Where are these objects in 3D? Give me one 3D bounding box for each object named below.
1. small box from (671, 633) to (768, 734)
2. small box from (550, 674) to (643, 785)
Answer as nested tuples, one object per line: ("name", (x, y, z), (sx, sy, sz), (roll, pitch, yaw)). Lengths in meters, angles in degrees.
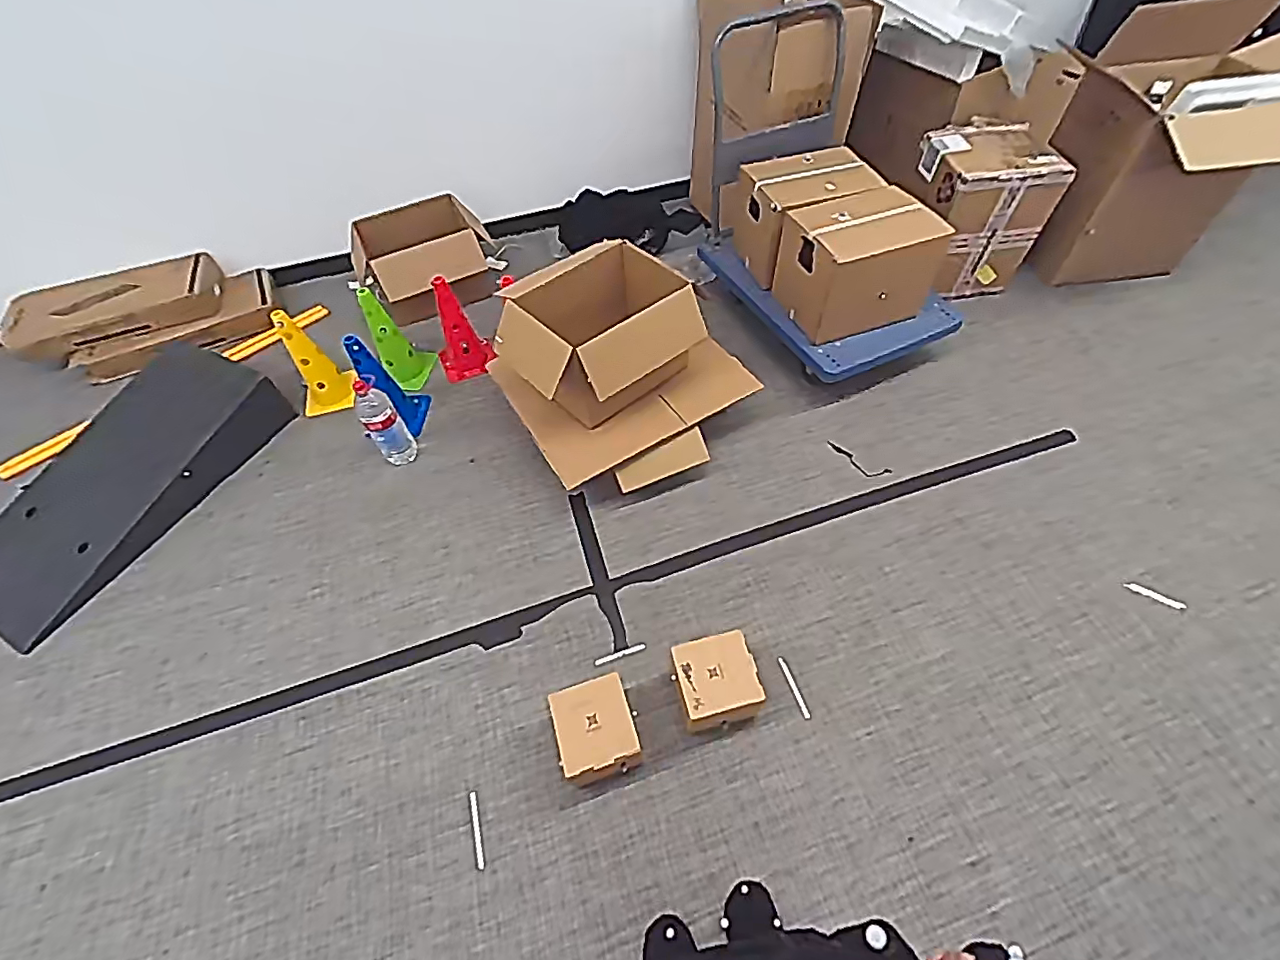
("small box", (0.179, 0.482, 1.275), (0.179, 0.176, 0.168), (-12, 55, -7))
("small box", (-0.095, 0.570, 1.225), (0.168, 0.176, 0.179), (-16, 55, -10))
